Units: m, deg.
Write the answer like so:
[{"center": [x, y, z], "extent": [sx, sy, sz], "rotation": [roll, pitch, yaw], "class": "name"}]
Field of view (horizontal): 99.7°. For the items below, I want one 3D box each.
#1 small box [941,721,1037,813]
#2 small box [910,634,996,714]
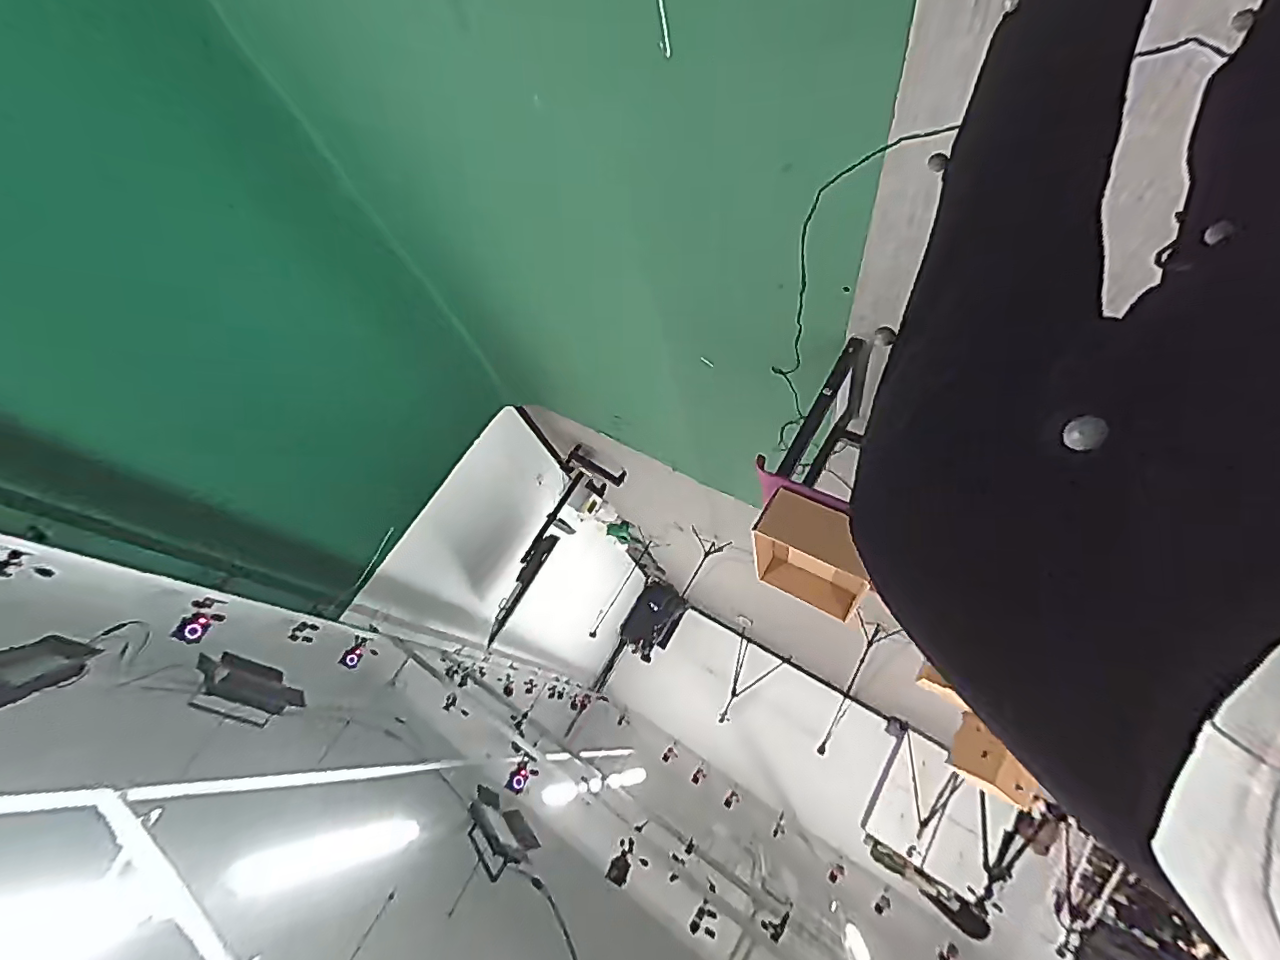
[{"center": [1.097, 0.890, 1.696], "extent": [0.179, 0.176, 0.168], "rotation": [38, 163, -15], "class": "small box"}, {"center": [0.962, 0.594, 1.663], "extent": [0.168, 0.176, 0.179], "rotation": [26, 163, 25], "class": "small box"}]
